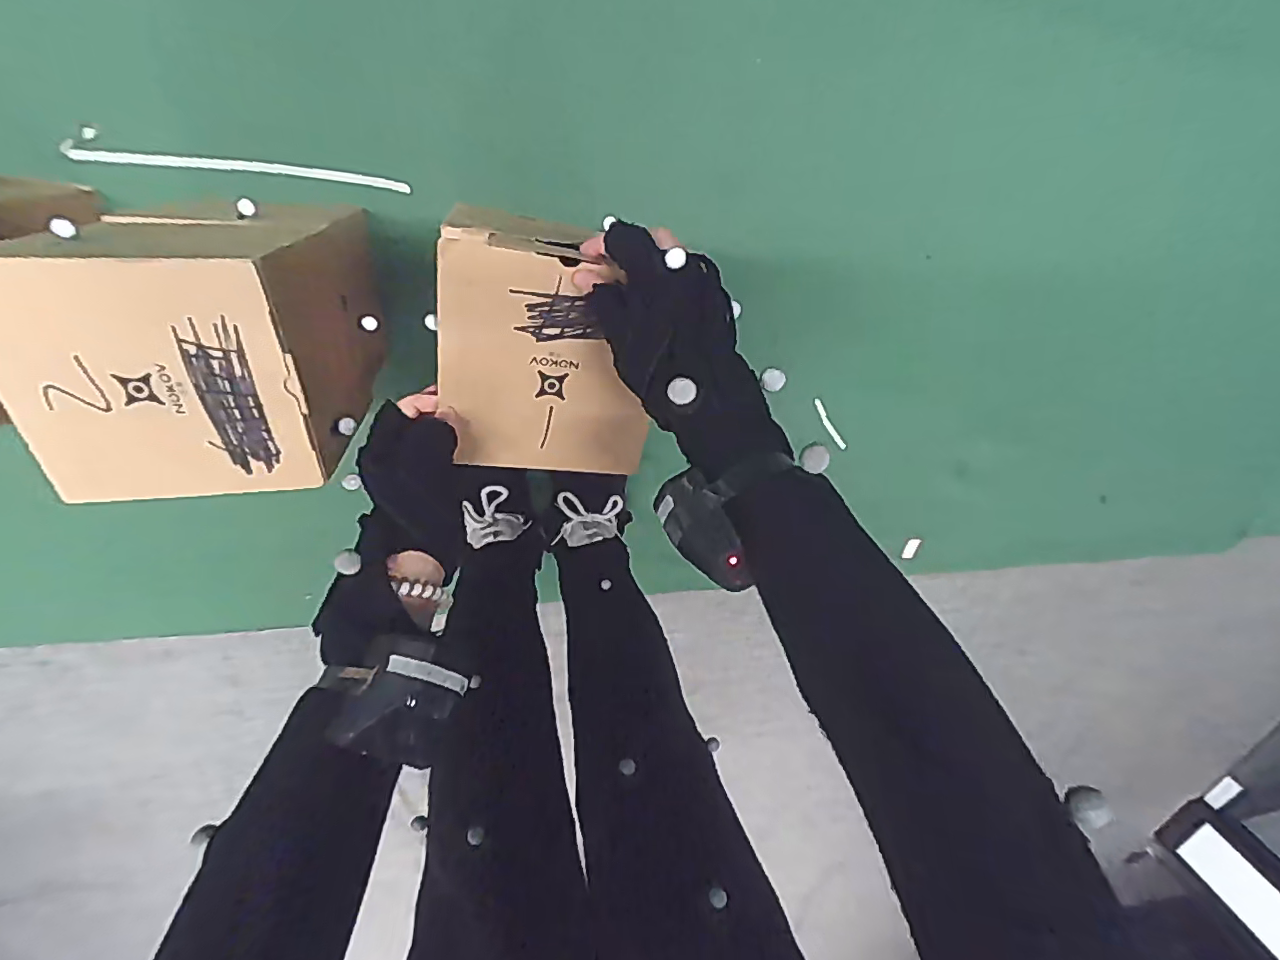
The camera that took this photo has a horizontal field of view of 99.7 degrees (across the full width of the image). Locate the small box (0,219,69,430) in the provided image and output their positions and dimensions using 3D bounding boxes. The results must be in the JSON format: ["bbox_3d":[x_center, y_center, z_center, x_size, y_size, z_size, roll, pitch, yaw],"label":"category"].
[{"bbox_3d":[-0.583,-0.106,0.377,0.179,0.176,0.168,2,119,-13],"label":"small box"}]

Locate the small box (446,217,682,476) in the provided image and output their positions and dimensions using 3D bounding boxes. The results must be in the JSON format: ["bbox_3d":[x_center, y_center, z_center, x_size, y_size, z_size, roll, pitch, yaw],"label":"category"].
[{"bbox_3d":[-0.078,-0.123,0.482,0.168,0.176,0.179,4,119,-15],"label":"small box"}]

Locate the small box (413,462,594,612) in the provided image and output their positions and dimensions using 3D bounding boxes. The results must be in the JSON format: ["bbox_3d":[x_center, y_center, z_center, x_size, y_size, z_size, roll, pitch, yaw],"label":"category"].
[{"bbox_3d":[-0.193,0.049,0.769,0.179,0.176,0.168,36,119,-9],"label":"small box"}]

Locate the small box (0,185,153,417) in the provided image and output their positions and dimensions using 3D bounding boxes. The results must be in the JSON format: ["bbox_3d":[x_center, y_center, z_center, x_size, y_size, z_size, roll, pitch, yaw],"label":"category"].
[{"bbox_3d":[-0.623,-0.179,0.520,0.168,0.176,0.179,3,119,-14],"label":"small box"}]
